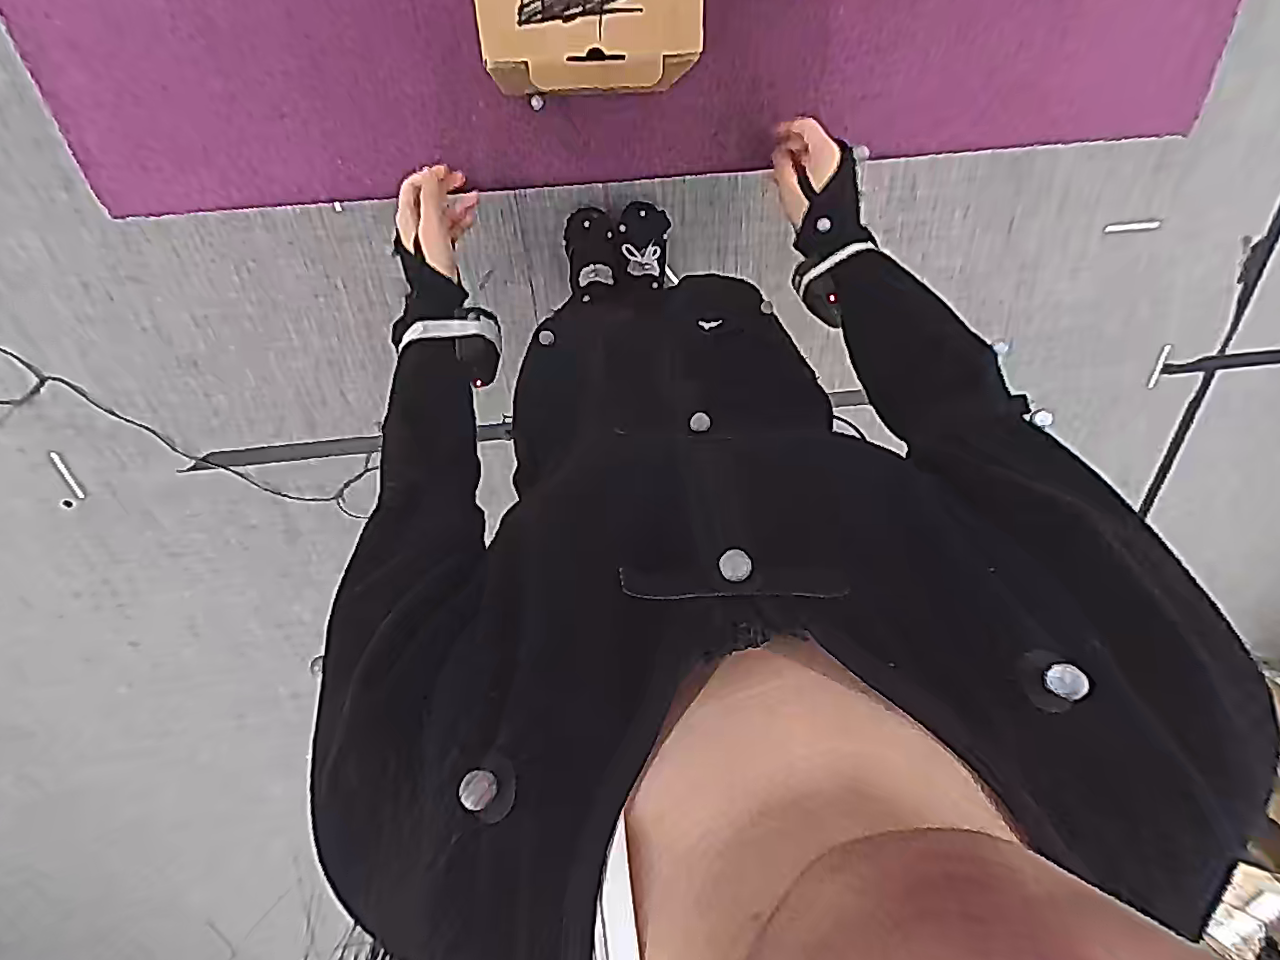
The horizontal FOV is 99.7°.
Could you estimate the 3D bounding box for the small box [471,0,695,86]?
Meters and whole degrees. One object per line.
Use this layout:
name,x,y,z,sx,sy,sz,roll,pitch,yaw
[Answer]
small box,-0.050,-0.433,0.435,0.168,0.176,0.179,-6,118,-5
